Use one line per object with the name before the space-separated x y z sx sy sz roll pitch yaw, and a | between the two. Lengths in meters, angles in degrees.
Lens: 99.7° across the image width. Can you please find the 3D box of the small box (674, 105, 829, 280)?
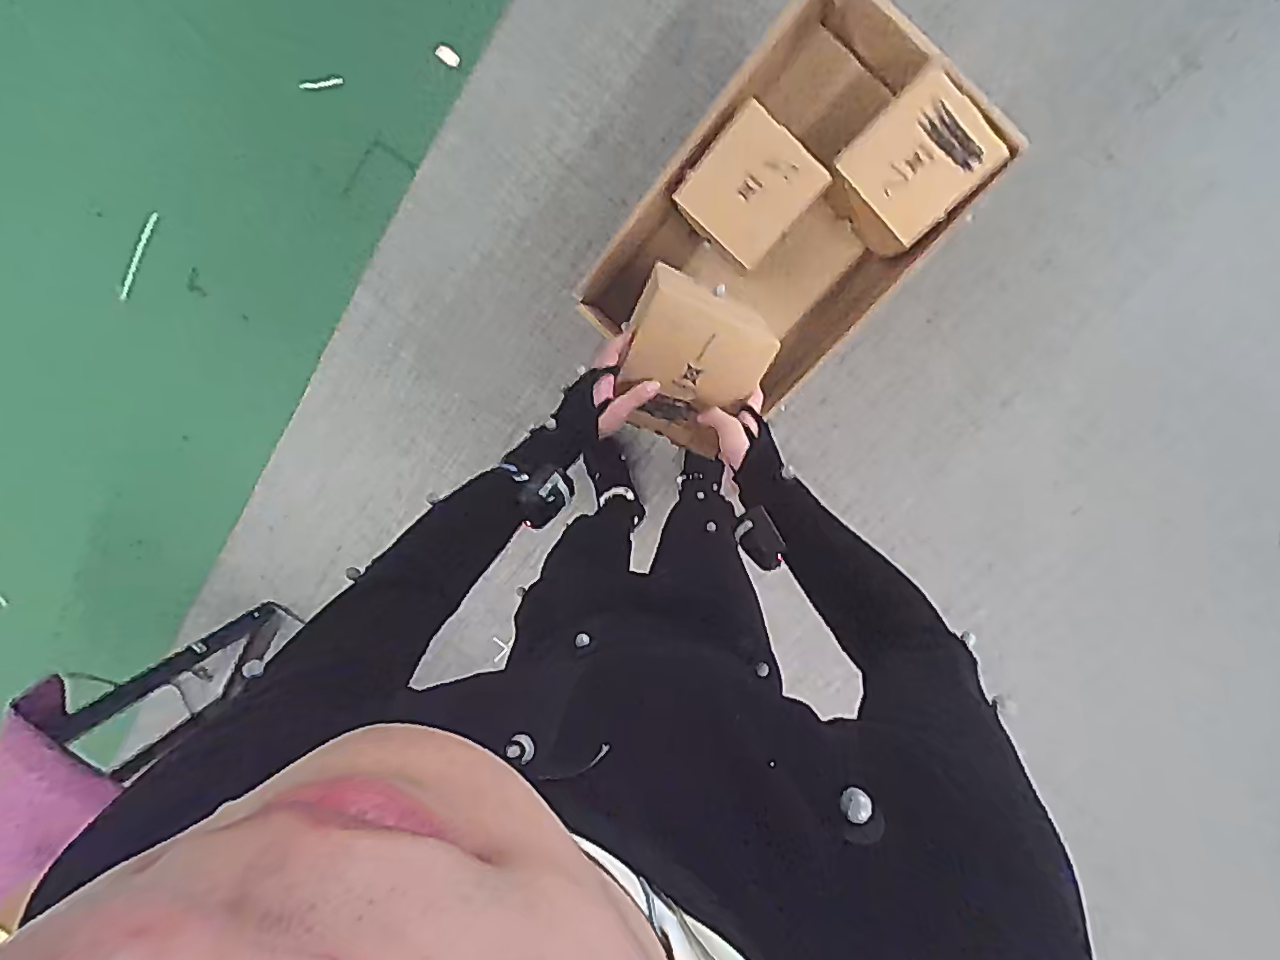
small box | 0.180 -0.454 0.891 0.168 0.176 0.179 43 107 -4

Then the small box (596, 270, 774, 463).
small box | 0.053 -0.158 0.735 0.168 0.176 0.179 22 118 -13
